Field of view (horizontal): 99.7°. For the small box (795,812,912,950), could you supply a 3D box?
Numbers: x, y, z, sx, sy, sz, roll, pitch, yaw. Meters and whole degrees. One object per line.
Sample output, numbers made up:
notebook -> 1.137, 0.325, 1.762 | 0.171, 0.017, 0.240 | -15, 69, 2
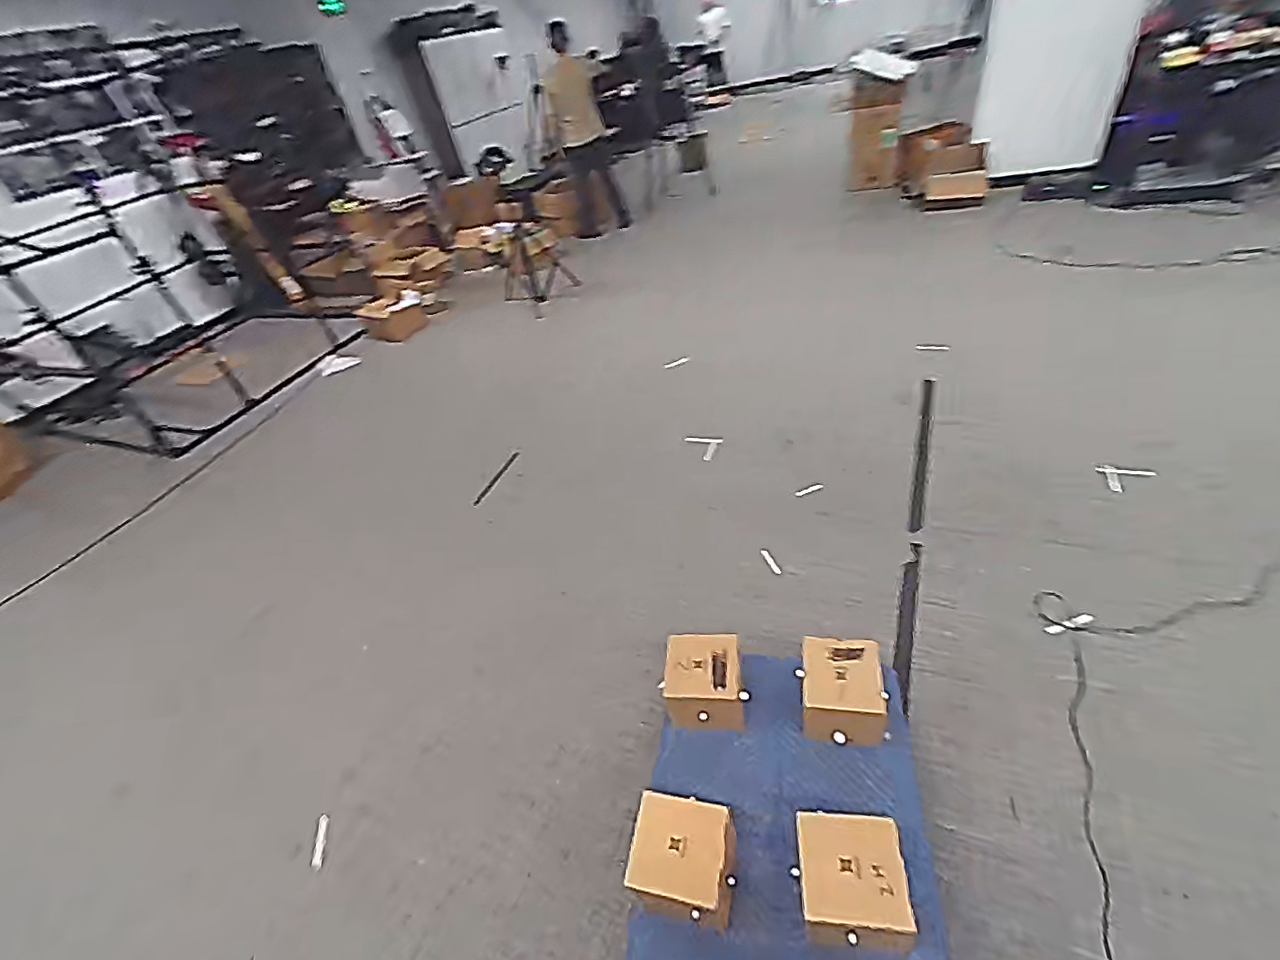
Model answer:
small box -> 0.384, 0.737, 0.996 | 0.179, 0.176, 0.168 | -4, 41, 14

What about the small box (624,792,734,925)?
small box -> 0.085, 0.752, 1.076 | 0.179, 0.176, 0.168 | 1, 42, 17

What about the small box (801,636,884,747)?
small box -> 0.464, 0.491, 1.261 | 0.168, 0.176, 0.179 | -1, 43, 16
